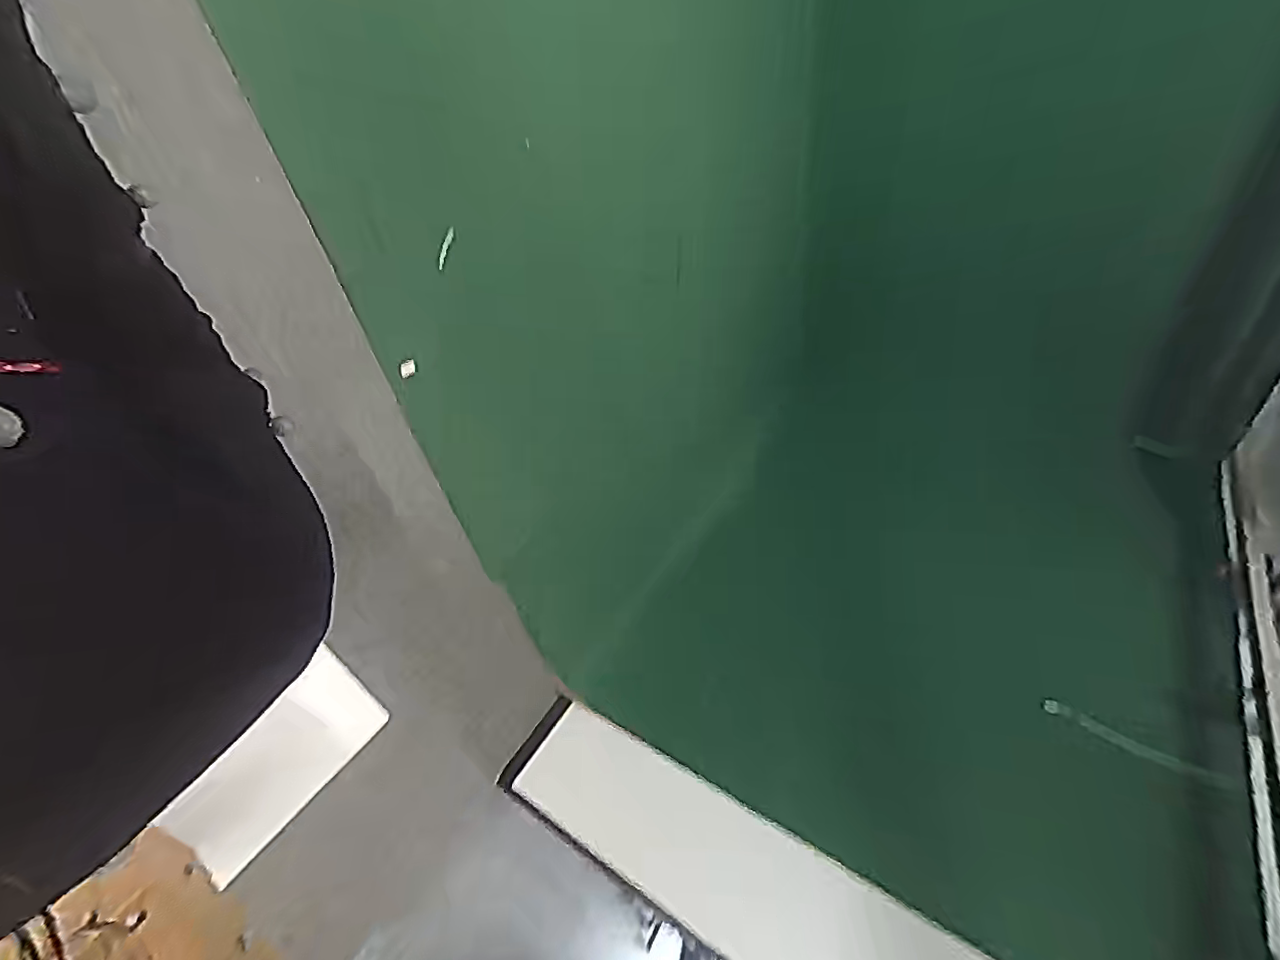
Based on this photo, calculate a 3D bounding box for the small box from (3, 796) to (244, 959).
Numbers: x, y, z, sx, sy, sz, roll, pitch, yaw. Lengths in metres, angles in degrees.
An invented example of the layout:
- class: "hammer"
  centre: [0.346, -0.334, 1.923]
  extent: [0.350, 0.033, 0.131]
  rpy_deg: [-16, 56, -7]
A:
- class: "small box"
  centre: [-0.690, 0.576, 0.741]
  extent: [0.168, 0.176, 0.179]
  rpy_deg: [-46, 140, -35]

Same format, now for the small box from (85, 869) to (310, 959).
- class: "small box"
  centre: [-0.554, 0.621, 0.660]
  extent: [0.168, 0.176, 0.179]
  rpy_deg: [-48, 141, -33]
